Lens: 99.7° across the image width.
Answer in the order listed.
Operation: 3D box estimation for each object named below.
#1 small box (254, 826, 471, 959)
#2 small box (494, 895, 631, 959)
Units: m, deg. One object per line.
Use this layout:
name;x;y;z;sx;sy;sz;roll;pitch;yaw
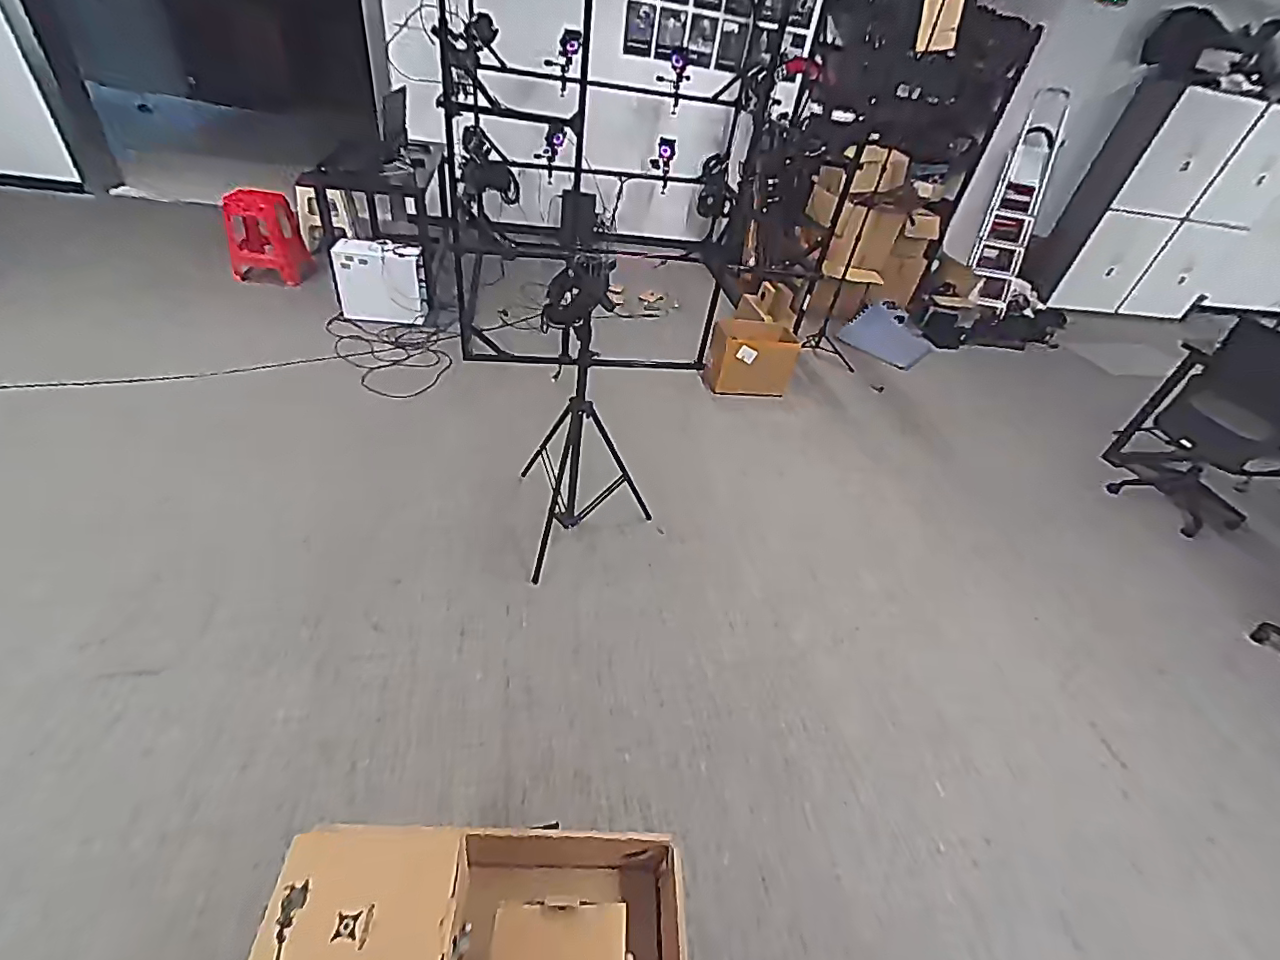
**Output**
small box;-0.284;0.493;0.576;0.179;0.176;0.168;6;38;-8
small box;-0.102;0.652;0.676;0.168;0.176;0.179;4;39;-3
